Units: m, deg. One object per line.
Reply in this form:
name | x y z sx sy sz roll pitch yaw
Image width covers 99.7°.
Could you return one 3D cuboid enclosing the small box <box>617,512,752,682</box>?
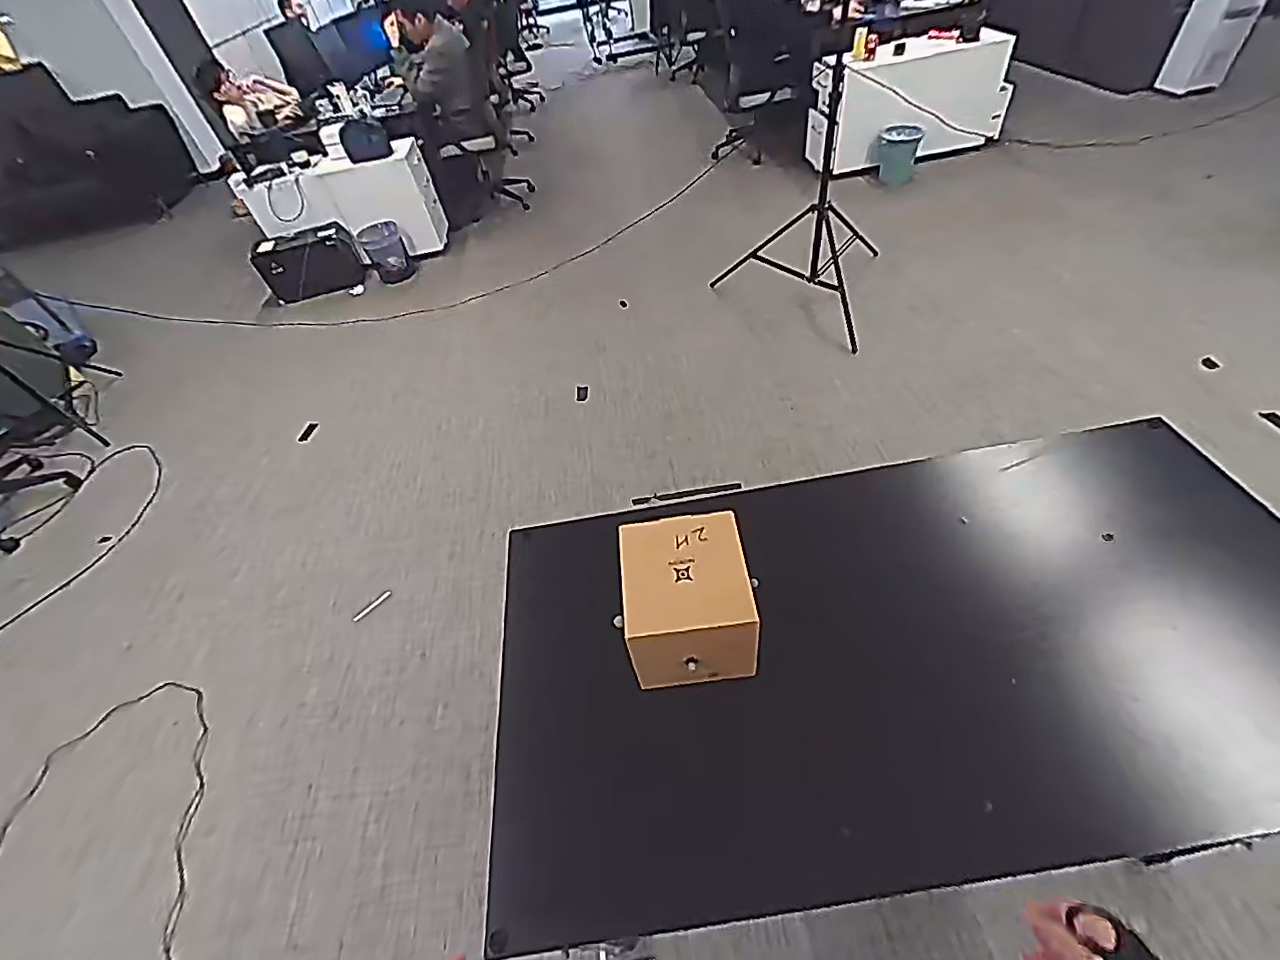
small box | 0.064 0.174 0.772 0.168 0.176 0.179 -8 47 3
